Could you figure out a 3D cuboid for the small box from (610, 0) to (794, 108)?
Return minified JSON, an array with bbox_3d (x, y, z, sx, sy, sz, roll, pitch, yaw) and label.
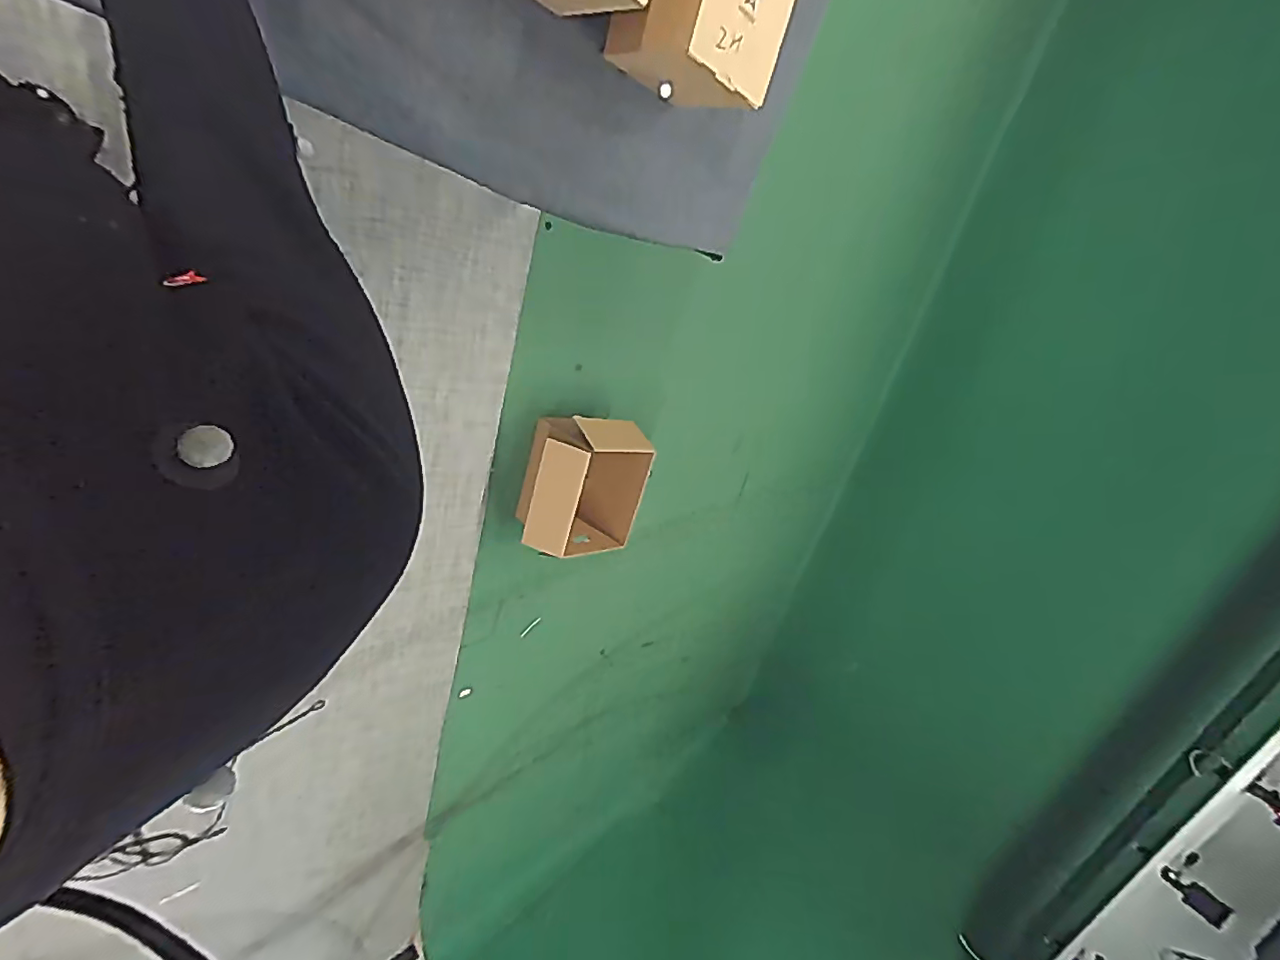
[{"bbox_3d":[0.083,-0.636,0.729,0.168,0.176,0.179,-5,120,-46],"label":"small box"}]
